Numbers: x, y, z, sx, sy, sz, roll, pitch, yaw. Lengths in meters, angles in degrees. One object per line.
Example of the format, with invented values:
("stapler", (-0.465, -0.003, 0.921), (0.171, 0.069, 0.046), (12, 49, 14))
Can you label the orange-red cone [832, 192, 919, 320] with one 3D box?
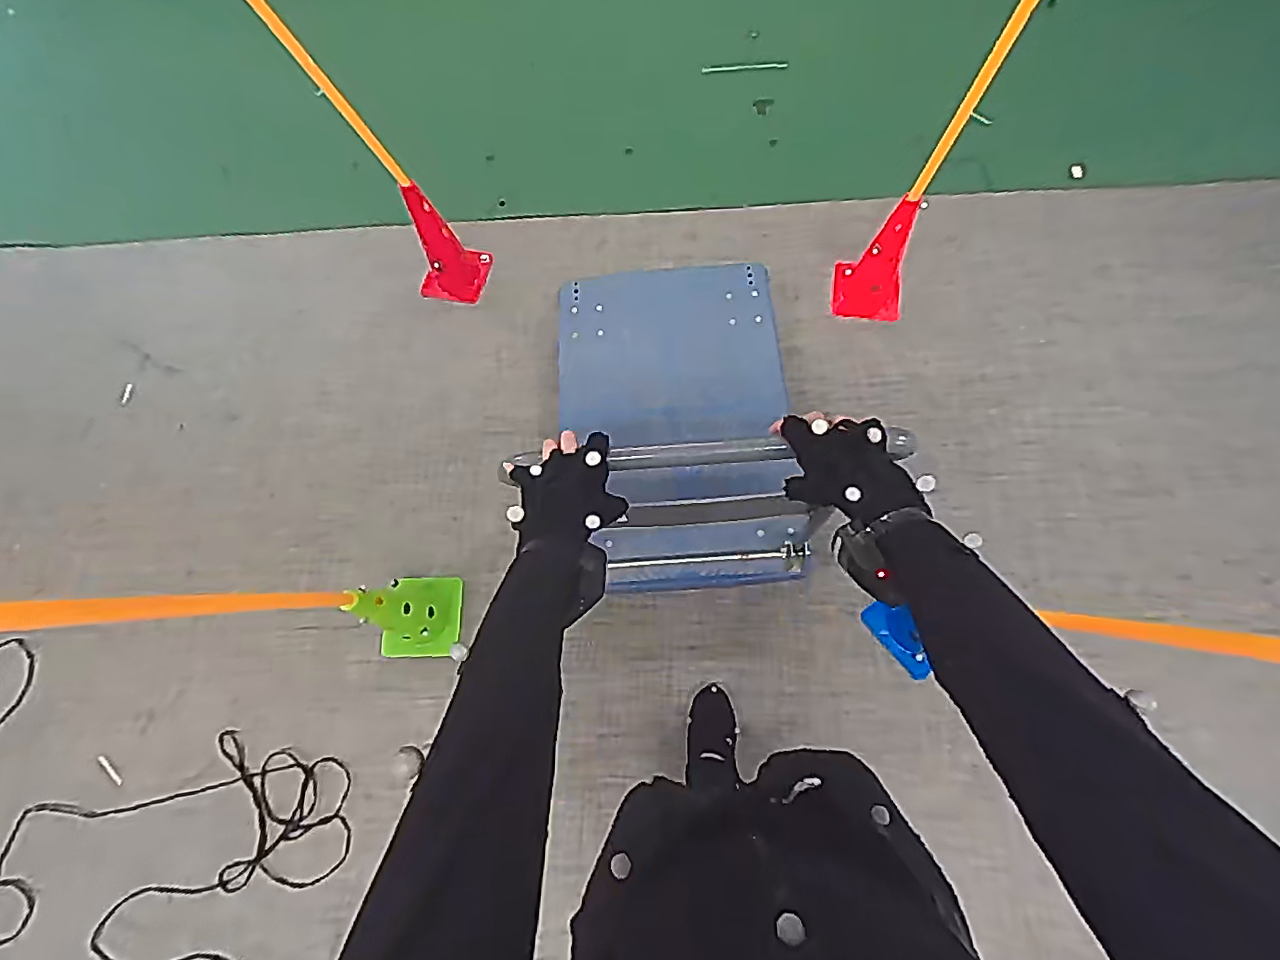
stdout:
("orange-red cone", (0.679, -0.632, 1.486), (0.198, 0.360, 0.199), (9, 73, 8))
